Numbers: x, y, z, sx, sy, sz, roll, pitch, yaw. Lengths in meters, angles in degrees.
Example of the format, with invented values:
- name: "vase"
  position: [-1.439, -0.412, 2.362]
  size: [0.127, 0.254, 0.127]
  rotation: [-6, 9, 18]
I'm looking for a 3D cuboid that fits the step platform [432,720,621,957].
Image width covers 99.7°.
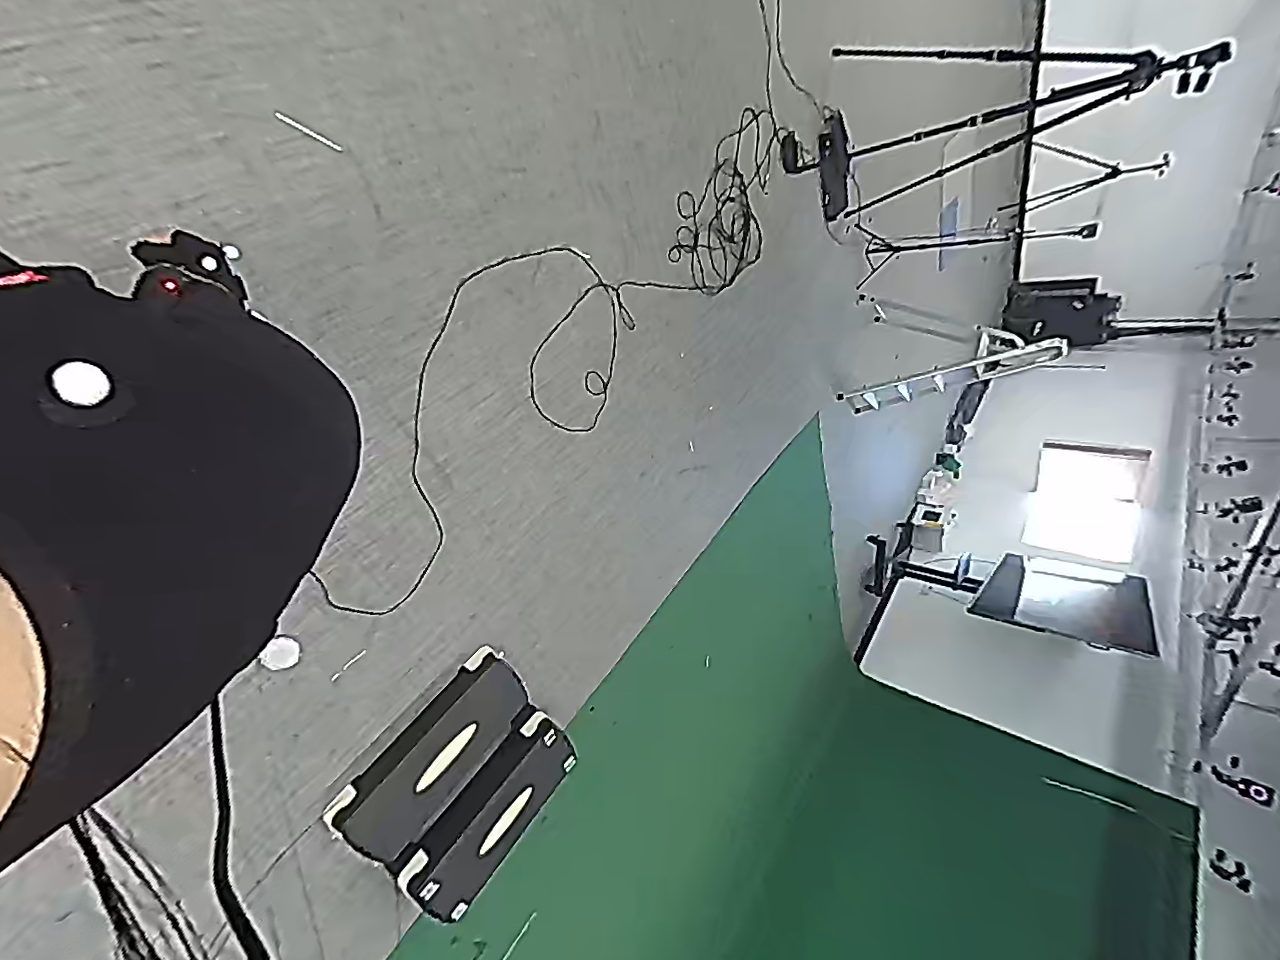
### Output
- name: "step platform"
  position: [-0.365, 1.193, 1.864]
  size: [0.684, 0.204, 0.286]
  rotation: [-47, 132, -33]
